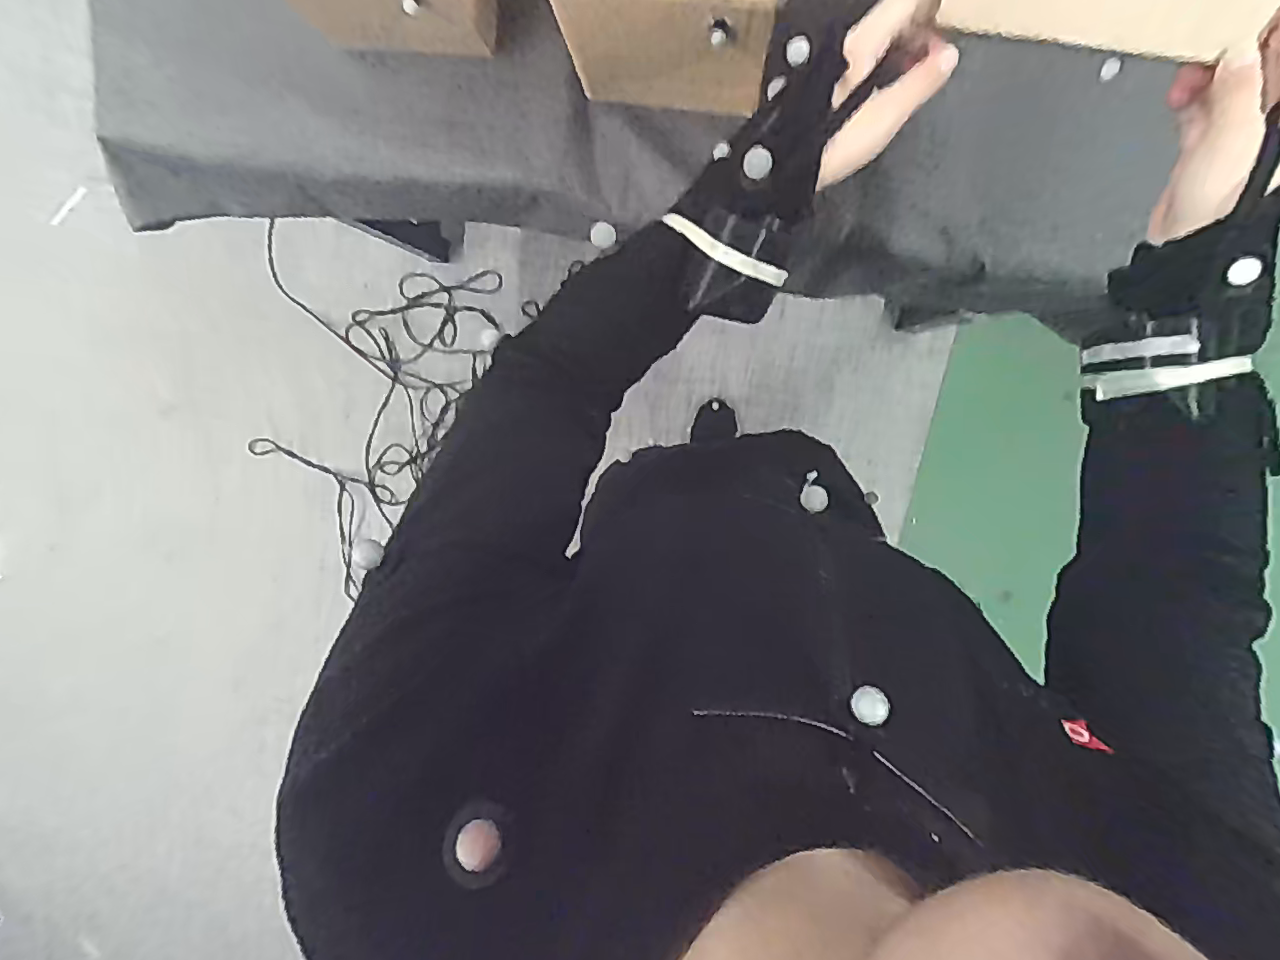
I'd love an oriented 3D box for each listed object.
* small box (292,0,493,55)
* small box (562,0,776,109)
[{"bbox_3d":[-0.232,-0.511,0.471,0.179,0.176,0.168,6,99,5],"label":"small box"},{"bbox_3d":[0.031,-0.447,0.457,0.179,0.176,0.168,8,101,3],"label":"small box"}]
